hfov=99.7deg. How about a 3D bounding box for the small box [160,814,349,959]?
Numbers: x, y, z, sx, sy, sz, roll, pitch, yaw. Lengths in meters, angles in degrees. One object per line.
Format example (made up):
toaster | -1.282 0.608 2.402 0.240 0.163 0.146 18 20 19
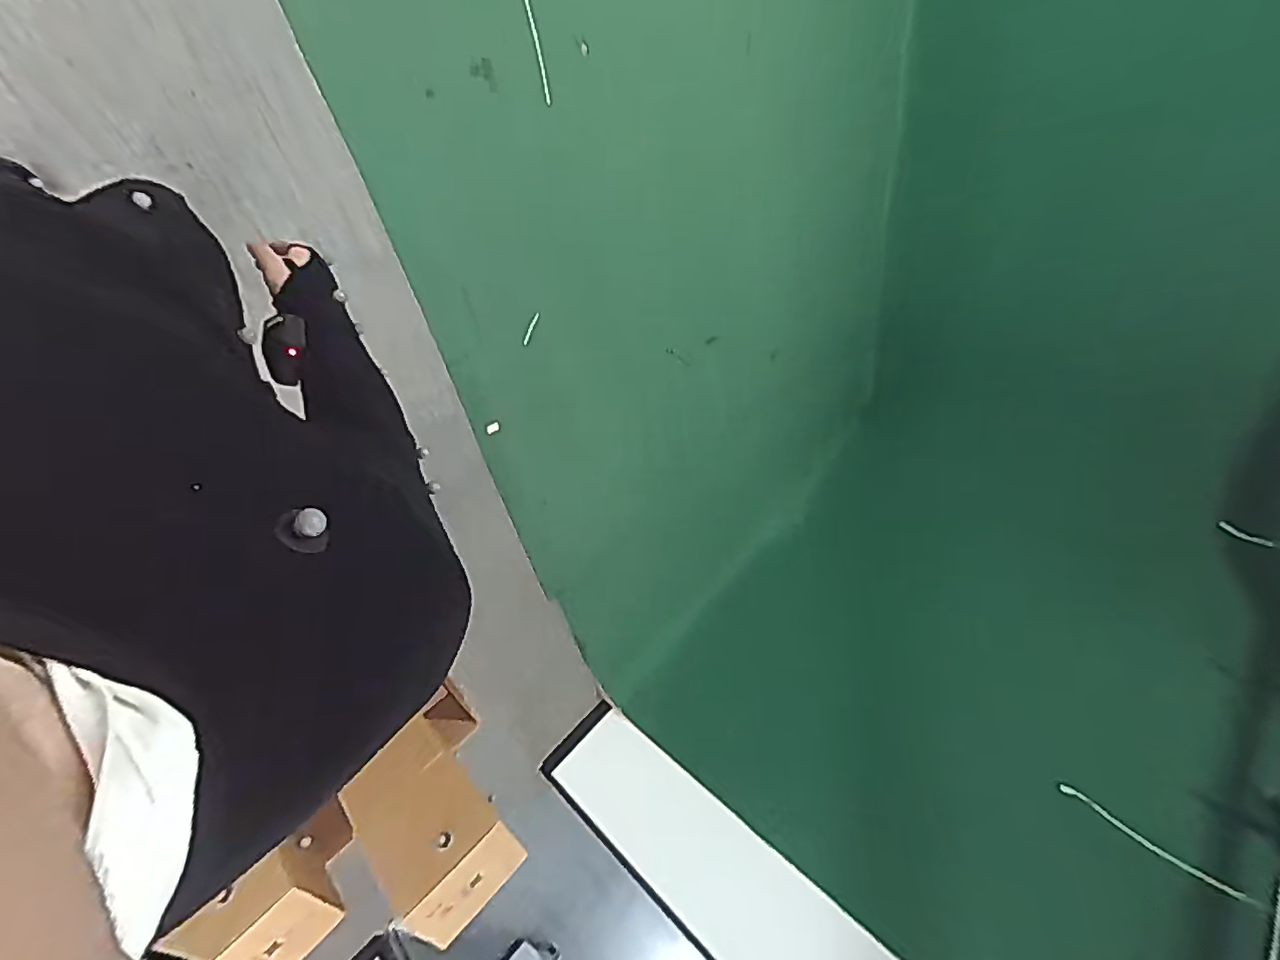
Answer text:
small box | -0.612 0.686 0.858 0.179 0.176 0.168 -39 137 -30

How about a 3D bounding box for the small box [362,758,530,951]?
small box | -0.316 0.604 0.889 0.179 0.176 0.168 -37 135 -29

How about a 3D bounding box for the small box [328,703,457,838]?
small box | -0.430 0.548 0.992 0.168 0.176 0.179 -38 135 -29
